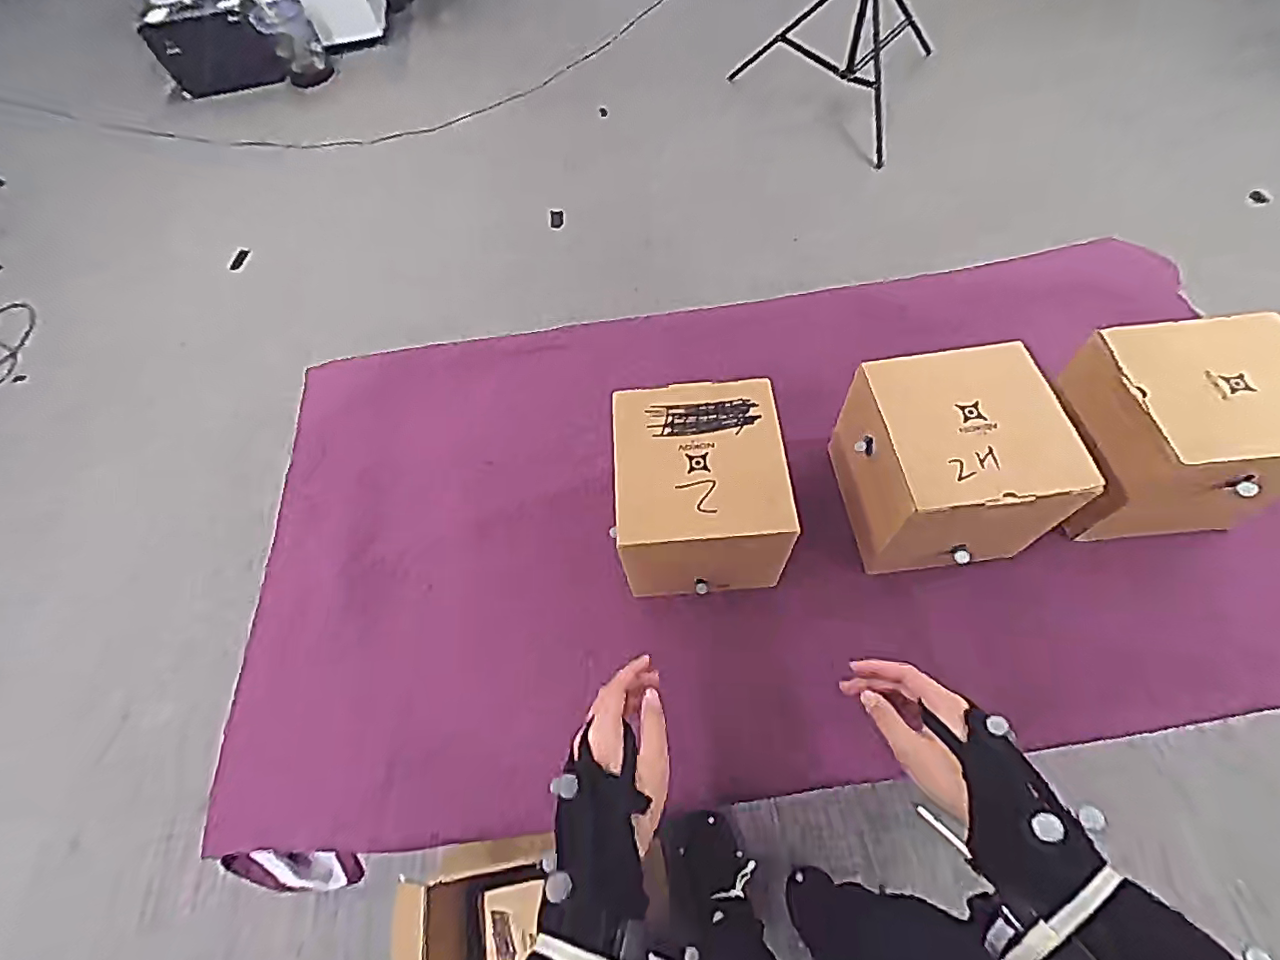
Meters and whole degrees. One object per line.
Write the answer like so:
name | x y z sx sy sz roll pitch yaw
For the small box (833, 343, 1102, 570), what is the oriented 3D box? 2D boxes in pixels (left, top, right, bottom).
small box | 0.324 -0.019 0.585 0.168 0.176 0.179 -7 61 3

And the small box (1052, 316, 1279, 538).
small box | 0.563 -0.049 0.578 0.179 0.176 0.168 -5 60 4
